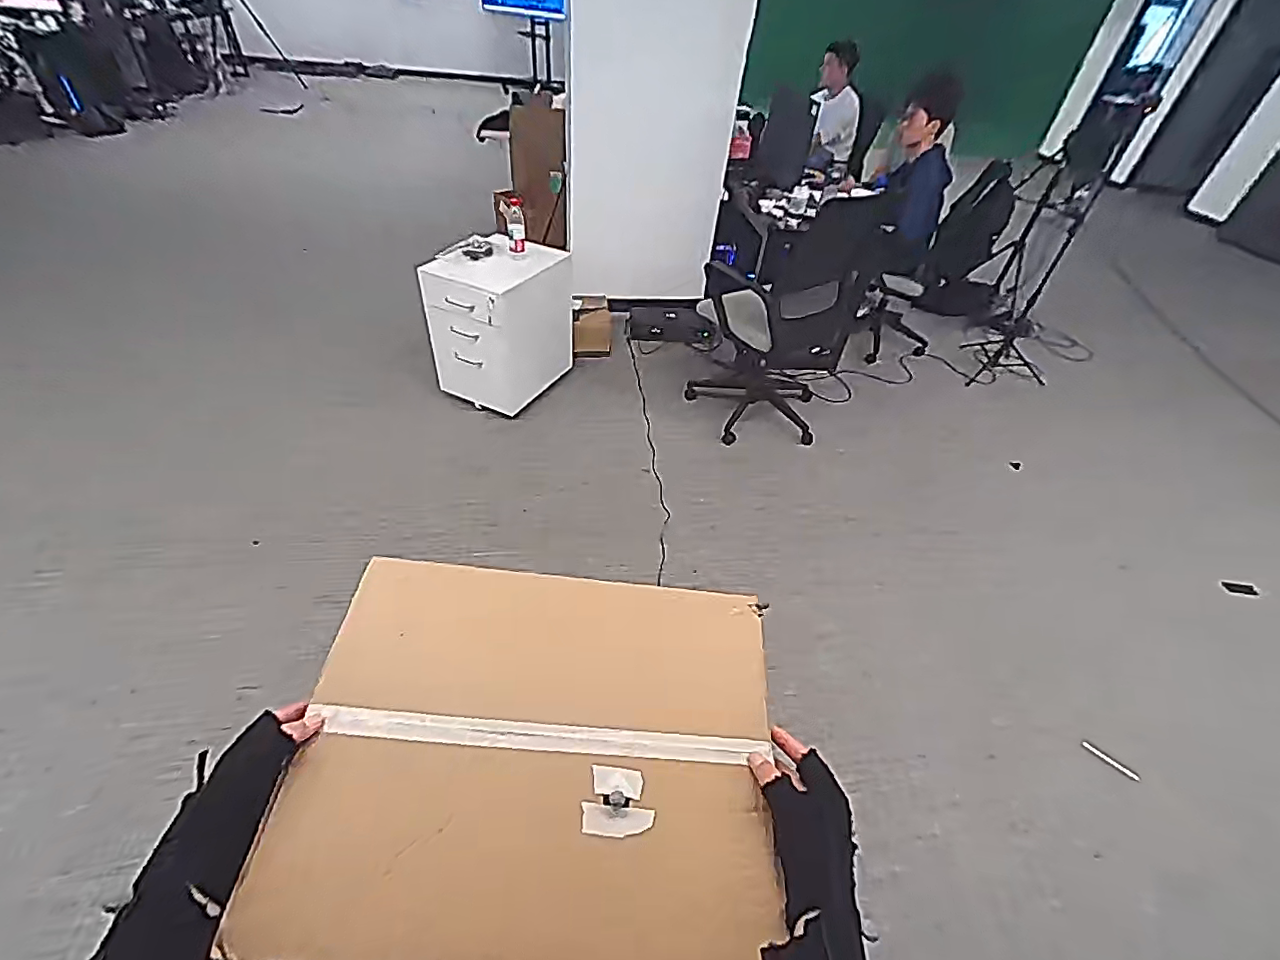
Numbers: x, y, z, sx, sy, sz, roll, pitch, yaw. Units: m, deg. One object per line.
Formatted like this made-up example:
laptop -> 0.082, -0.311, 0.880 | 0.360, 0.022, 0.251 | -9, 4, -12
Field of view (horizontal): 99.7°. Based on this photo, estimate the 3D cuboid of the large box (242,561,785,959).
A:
large box -> -0.100, 0.318, 0.600 | 0.408, 0.320, 0.320 | 8, 52, -4
